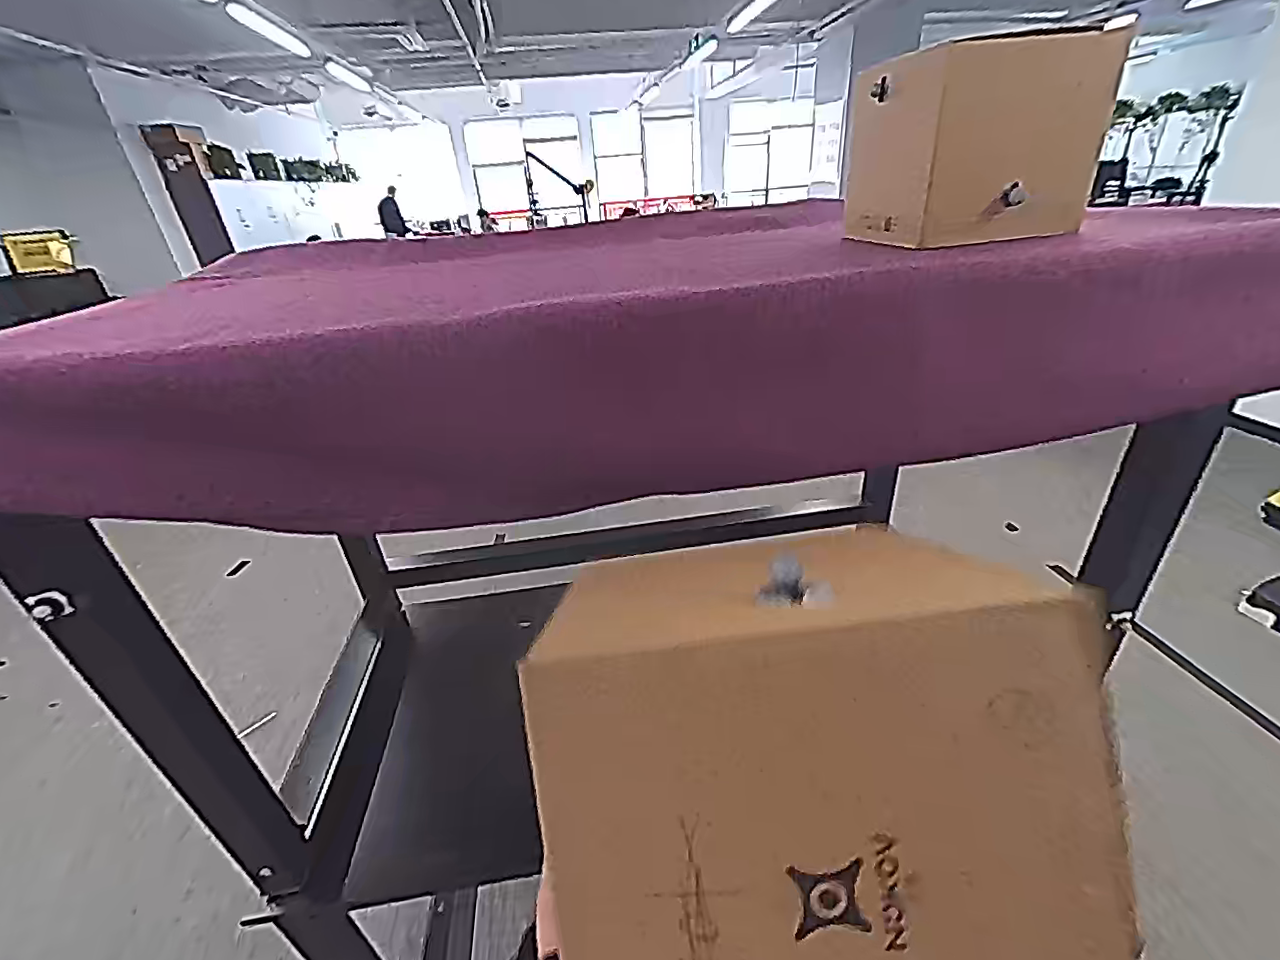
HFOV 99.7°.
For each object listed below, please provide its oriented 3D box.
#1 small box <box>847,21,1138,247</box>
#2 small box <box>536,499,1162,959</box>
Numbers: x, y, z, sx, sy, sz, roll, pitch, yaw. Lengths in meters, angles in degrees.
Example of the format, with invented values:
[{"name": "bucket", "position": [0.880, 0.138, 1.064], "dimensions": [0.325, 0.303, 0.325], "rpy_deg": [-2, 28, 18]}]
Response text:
[{"name": "small box", "position": [0.340, -0.347, 0.563], "dimensions": [0.179, 0.176, 0.168], "rpy_deg": [-8, 28, -5]}, {"name": "small box", "position": [0.064, 0.104, 0.237], "dimensions": [0.179, 0.168, 0.176], "rpy_deg": [-7, 3, 1]}]
